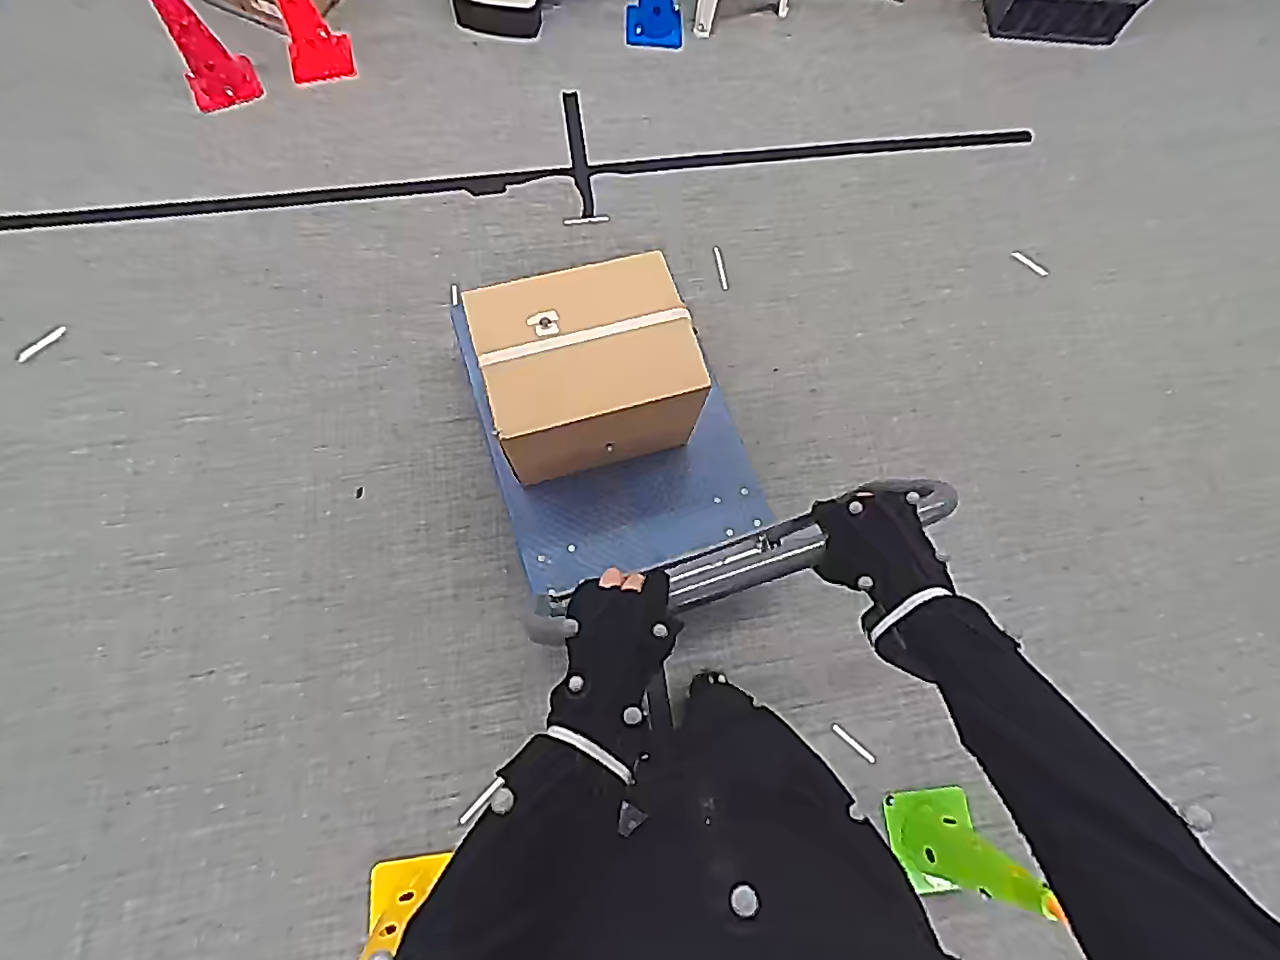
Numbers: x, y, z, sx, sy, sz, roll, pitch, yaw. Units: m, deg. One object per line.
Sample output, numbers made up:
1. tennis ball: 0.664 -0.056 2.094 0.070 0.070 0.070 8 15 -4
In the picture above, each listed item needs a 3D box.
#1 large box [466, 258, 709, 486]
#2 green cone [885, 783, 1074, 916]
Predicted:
1. large box: -0.109 -0.214 1.166 0.408 0.320 0.320 -16 75 -8
2. green cone: 0.683 0.760 1.067 0.202 0.368 0.200 -4 73 -6
